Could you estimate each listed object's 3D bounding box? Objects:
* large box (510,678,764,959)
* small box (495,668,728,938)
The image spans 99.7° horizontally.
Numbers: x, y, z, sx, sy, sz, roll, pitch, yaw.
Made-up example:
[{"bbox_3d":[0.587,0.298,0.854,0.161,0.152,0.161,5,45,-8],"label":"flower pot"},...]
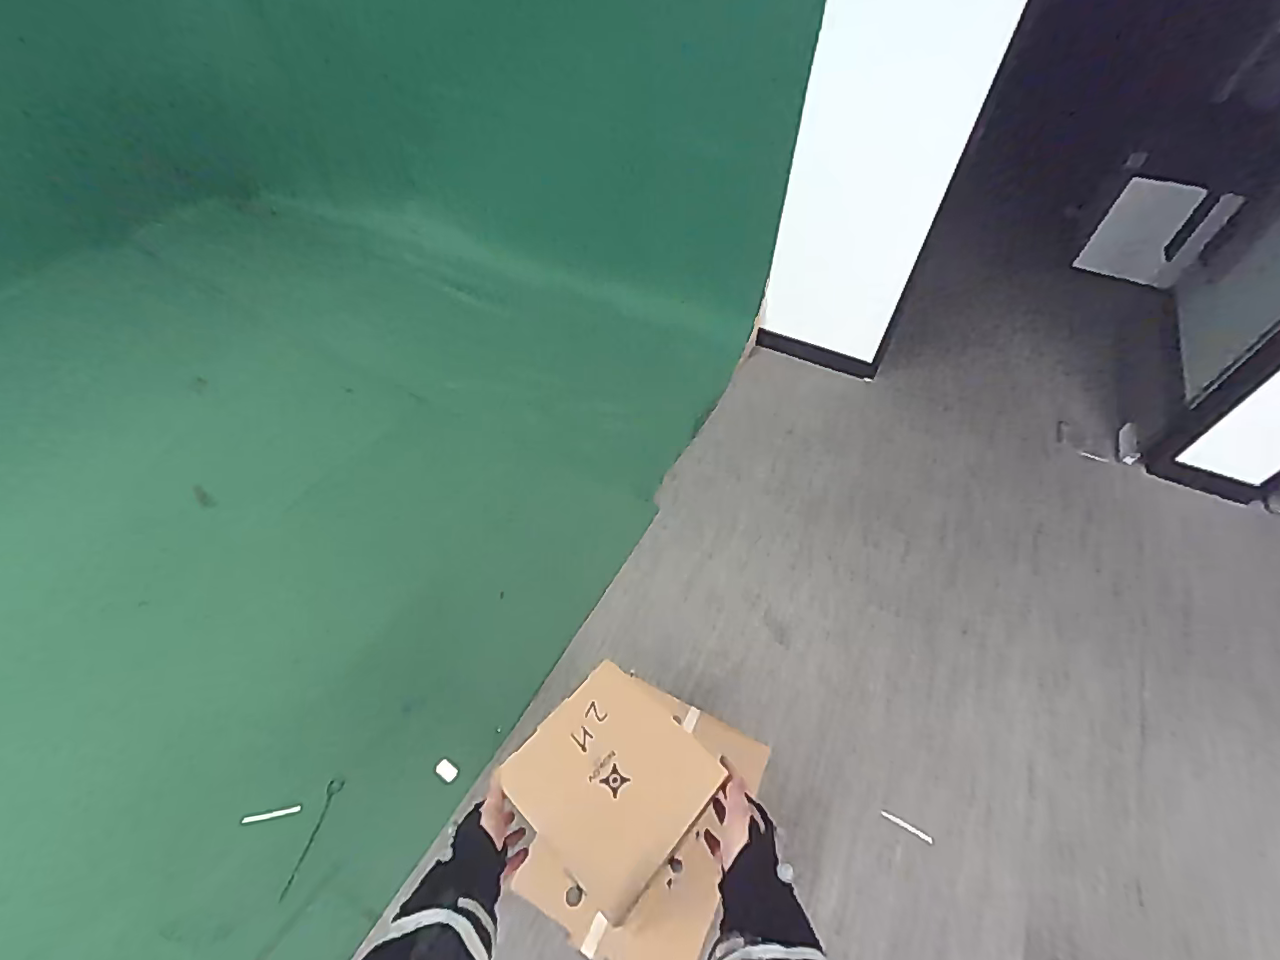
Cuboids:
[{"bbox_3d":[0.009,0.686,1.058,0.320,0.320,0.408,23,54,17],"label":"large box"},{"bbox_3d":[-0.027,0.350,0.596,0.179,0.176,0.168,36,59,26],"label":"small box"}]
